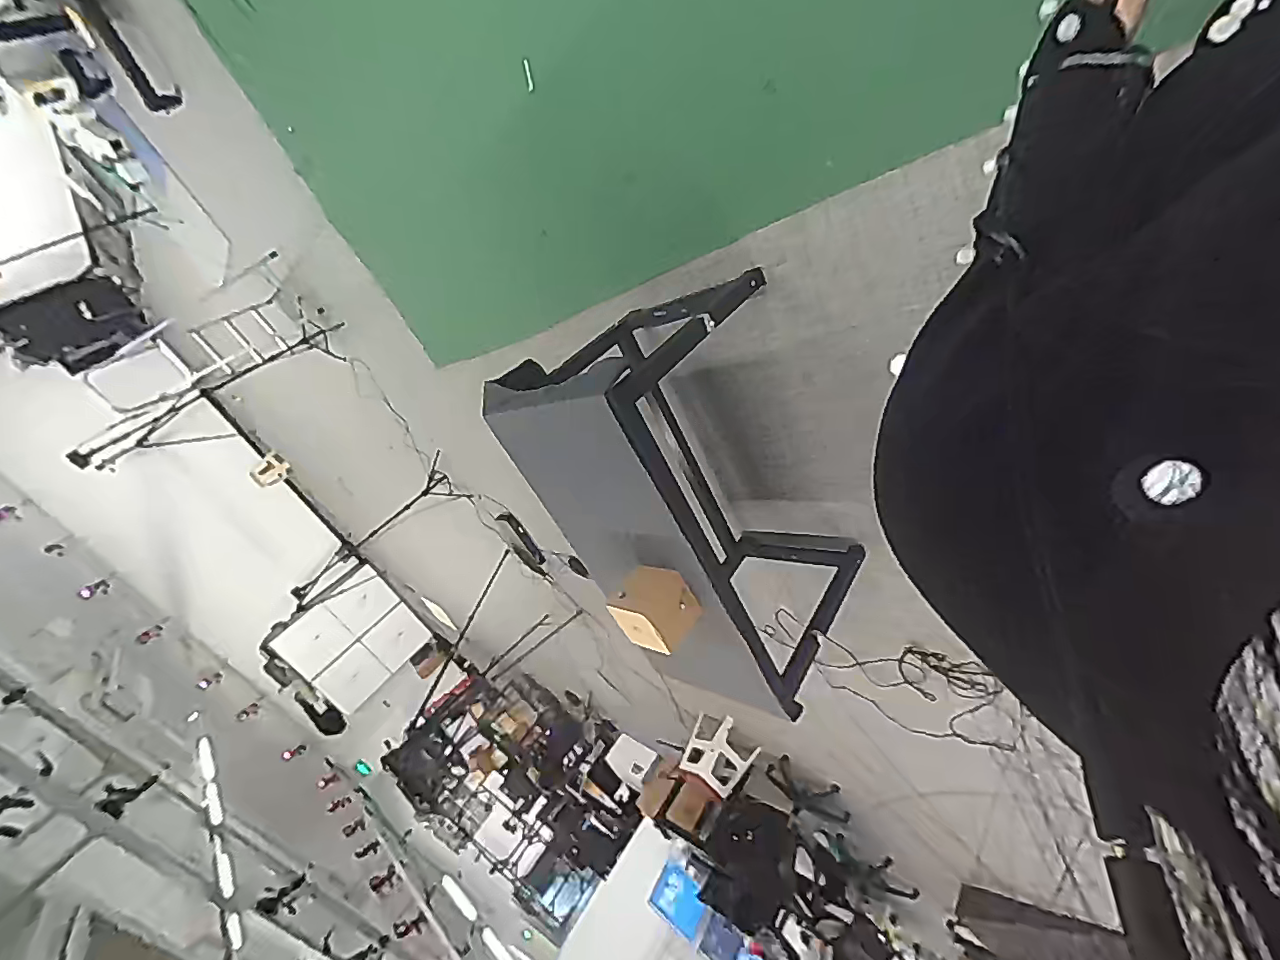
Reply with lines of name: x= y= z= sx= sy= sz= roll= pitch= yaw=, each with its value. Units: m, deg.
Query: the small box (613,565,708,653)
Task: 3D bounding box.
small box: x=0.063 y=0.363 z=1.556 sx=0.179 sy=0.176 sz=0.168 roll=-1 pitch=128 yaw=49
